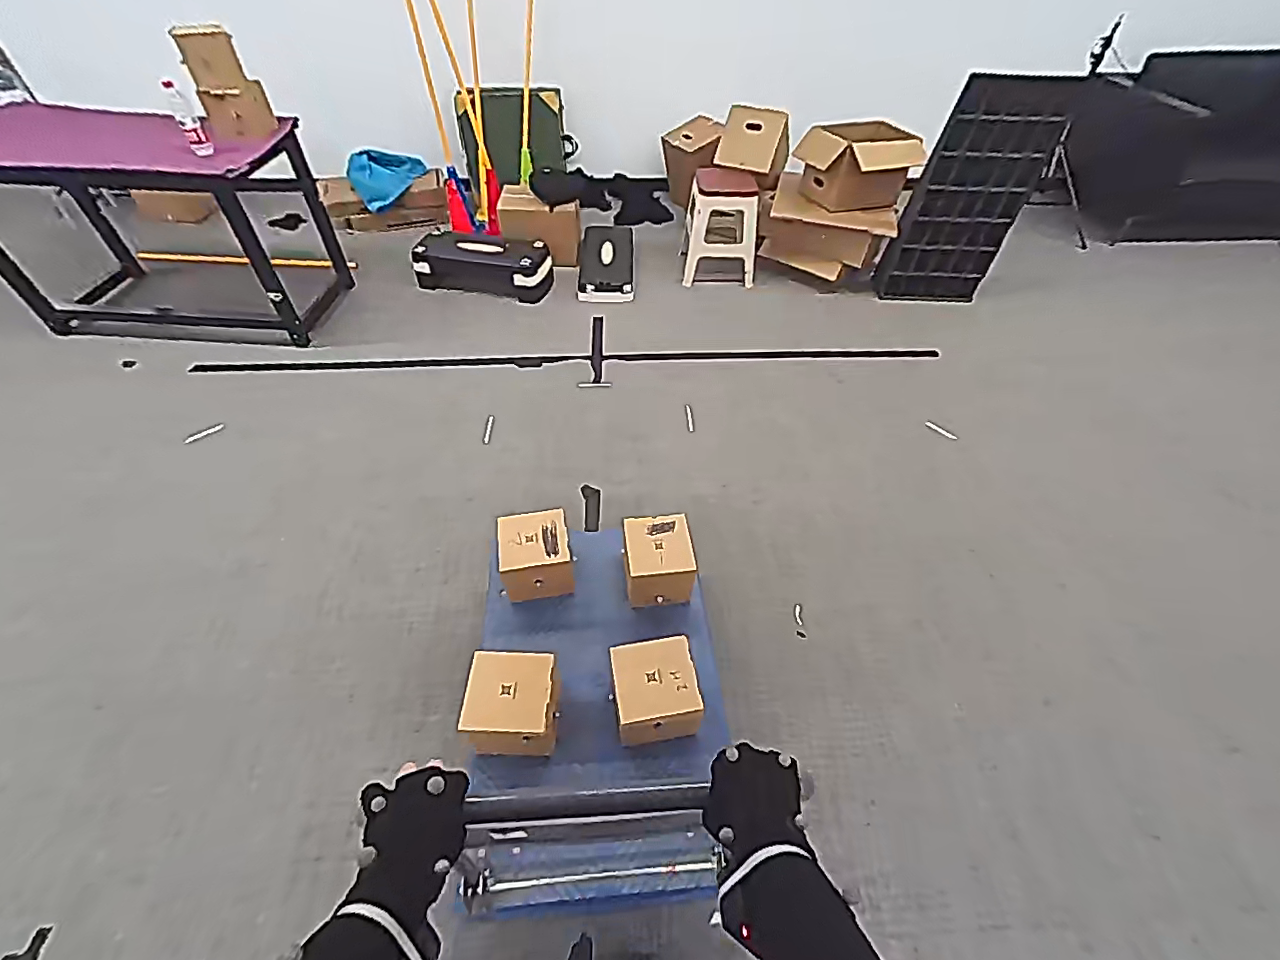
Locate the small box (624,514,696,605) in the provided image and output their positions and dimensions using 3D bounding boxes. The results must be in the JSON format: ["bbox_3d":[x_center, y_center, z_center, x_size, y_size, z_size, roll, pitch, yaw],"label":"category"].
[{"bbox_3d":[0.047,0.213,1.438,0.168,0.176,0.179,-4,51,-5],"label":"small box"}]

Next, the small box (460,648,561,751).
[{"bbox_3d":[-0.276,0.487,1.194,0.179,0.176,0.168,3,49,-1],"label":"small box"}]

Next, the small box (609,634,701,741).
[{"bbox_3d":[0.030,0.470,1.215,0.179,0.176,0.168,-7,50,-7],"label":"small box"}]
